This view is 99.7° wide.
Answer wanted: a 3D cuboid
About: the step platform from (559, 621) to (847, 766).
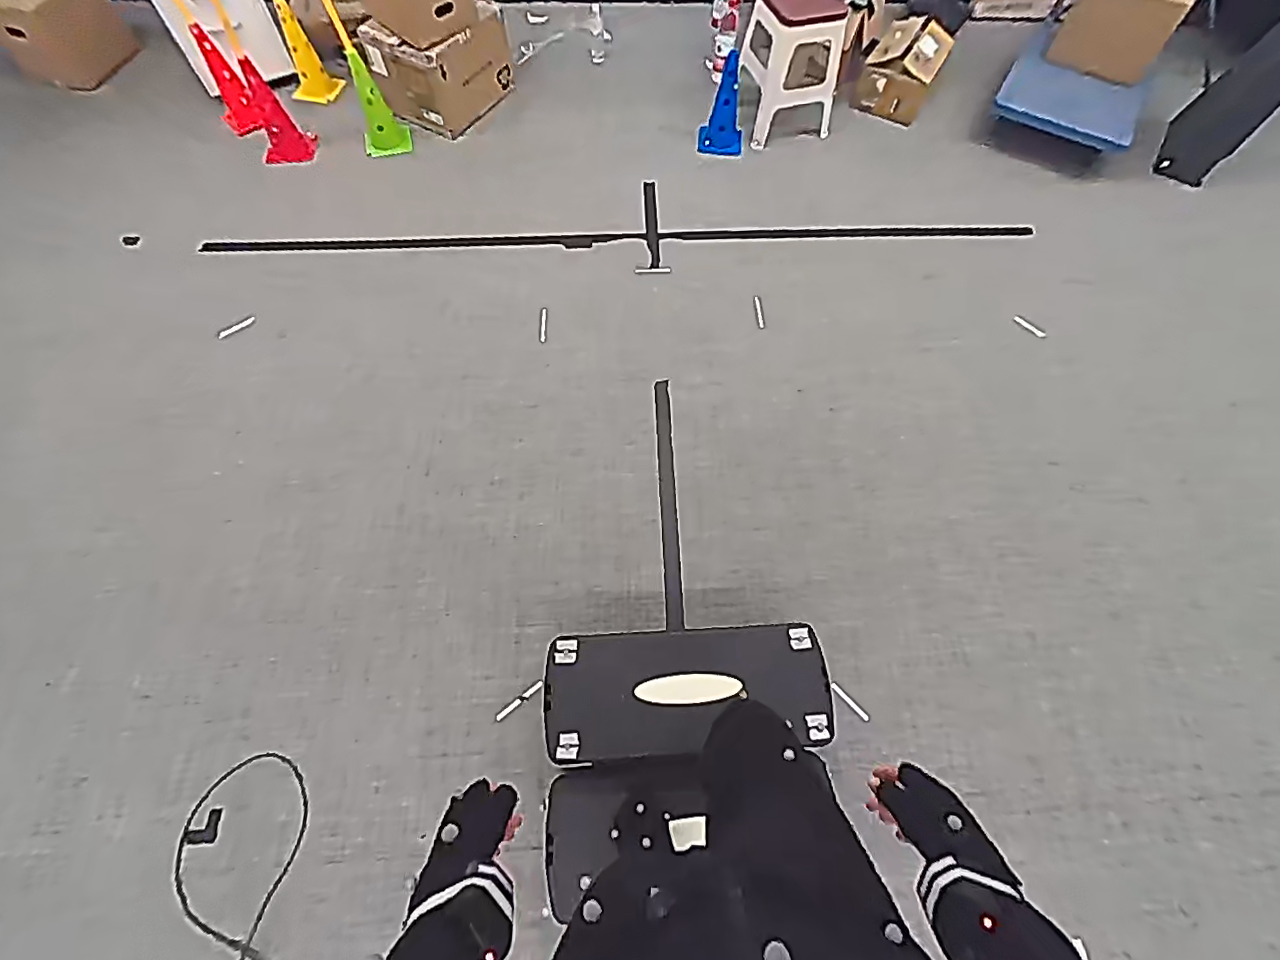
[{"bbox_3d":[0.144,0.521,1.333,0.684,0.204,0.286,-3,63,-4],"label":"step platform"}]
